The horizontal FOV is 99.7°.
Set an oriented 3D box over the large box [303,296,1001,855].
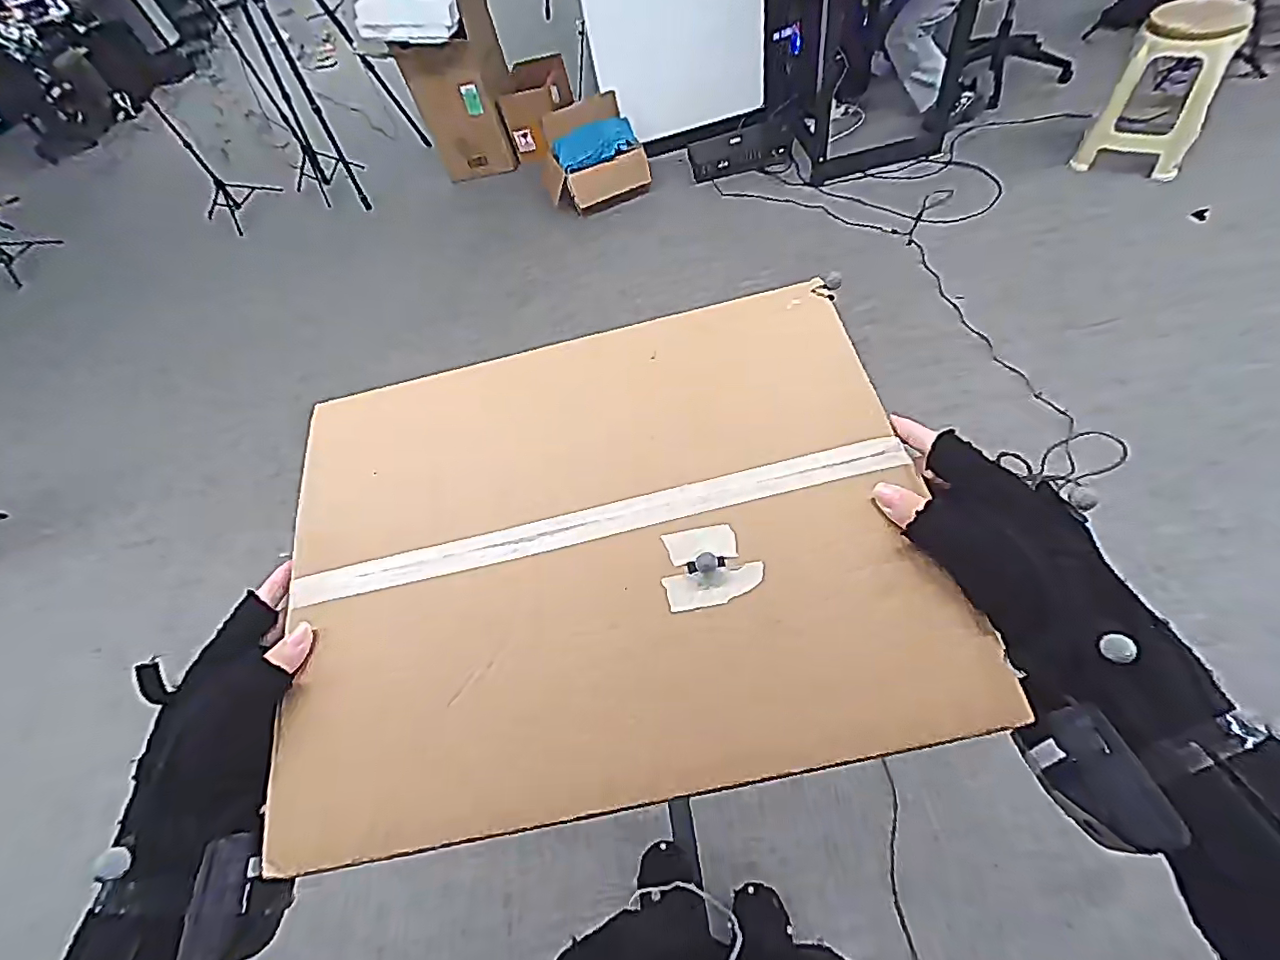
[{"bbox_3d":[-0.006,0.098,0.494,0.408,0.320,0.320,-13,63,2],"label":"large box"}]
